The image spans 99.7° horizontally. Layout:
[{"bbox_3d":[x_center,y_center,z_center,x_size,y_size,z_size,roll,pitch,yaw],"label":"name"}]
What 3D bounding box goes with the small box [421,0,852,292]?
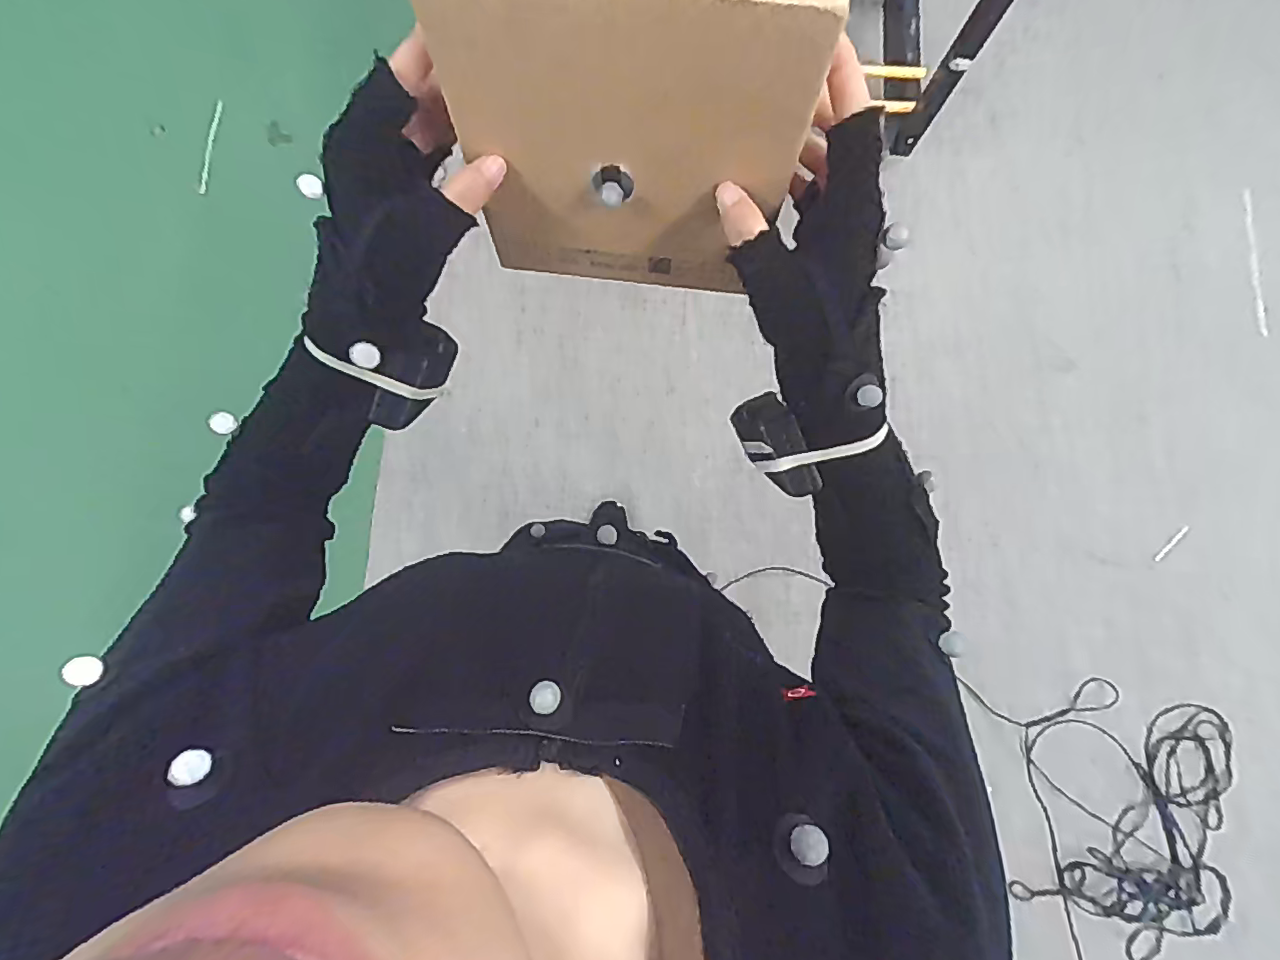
[{"bbox_3d":[0.006,-0.231,0.299,0.168,0.176,0.179,7,73,0],"label":"small box"}]
